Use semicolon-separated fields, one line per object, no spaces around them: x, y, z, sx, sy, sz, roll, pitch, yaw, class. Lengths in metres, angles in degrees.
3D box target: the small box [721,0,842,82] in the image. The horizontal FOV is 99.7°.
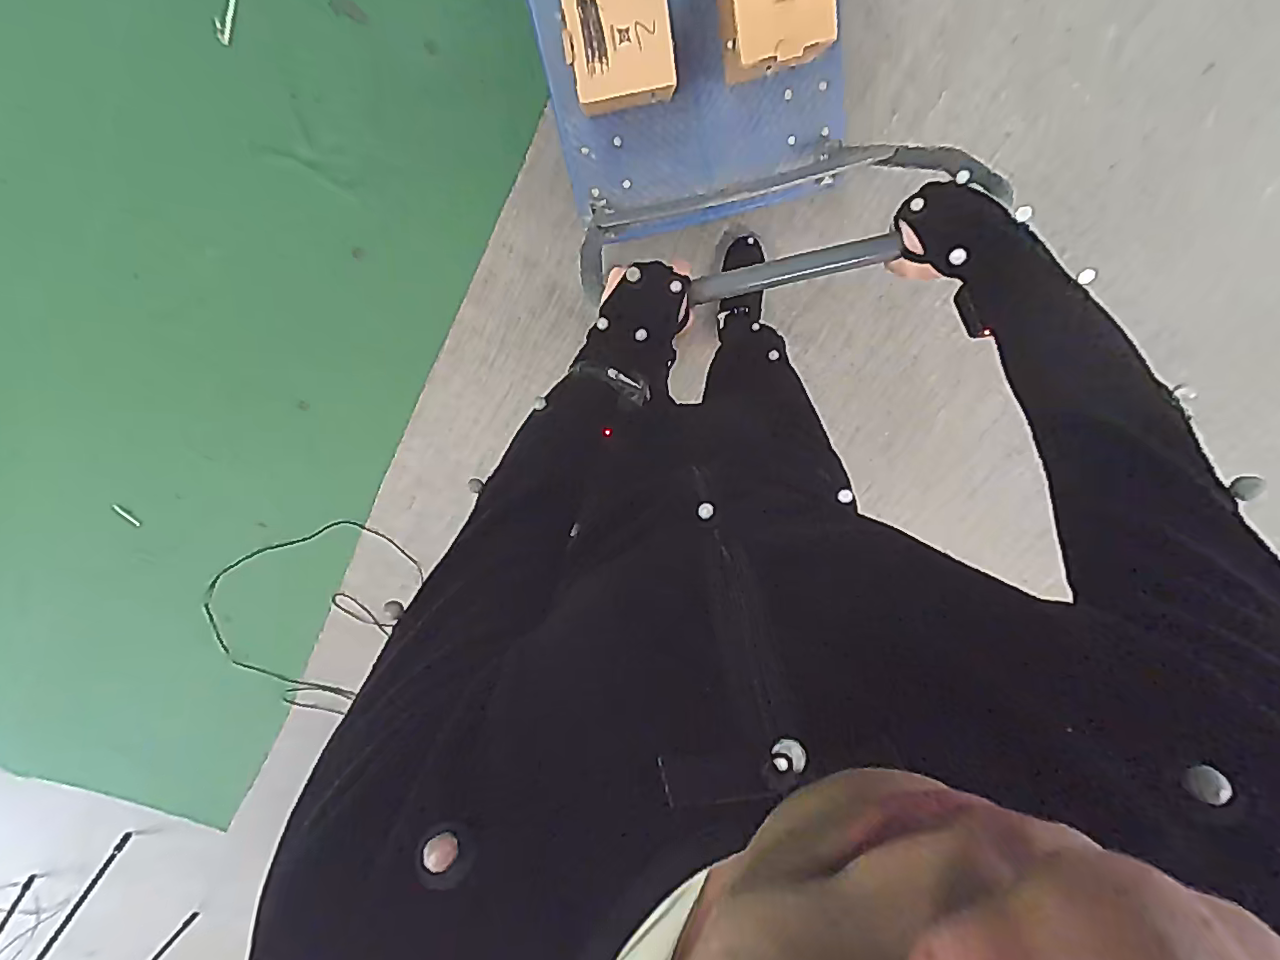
0.240;-0.833;0.946;0.168;0.176;0.179;-12;119;6;small box
